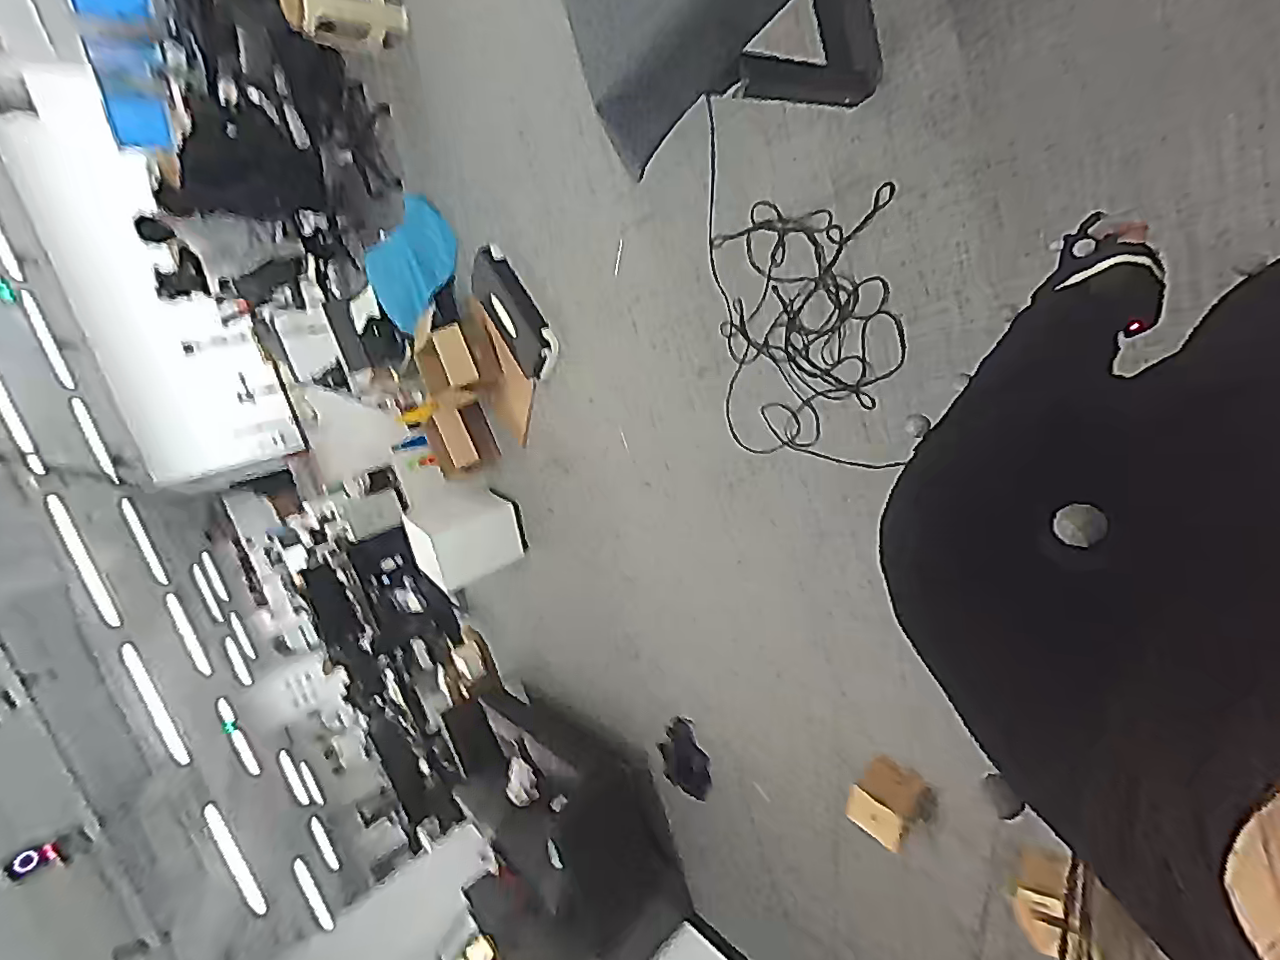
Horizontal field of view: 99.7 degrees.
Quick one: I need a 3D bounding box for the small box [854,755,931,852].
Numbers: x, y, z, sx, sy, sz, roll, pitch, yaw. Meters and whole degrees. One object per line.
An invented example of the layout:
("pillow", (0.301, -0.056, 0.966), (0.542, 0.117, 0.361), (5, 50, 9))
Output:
("small box", (0.832, 1.059, 1.781), (0.168, 0.176, 0.179), (23, 127, 46))
